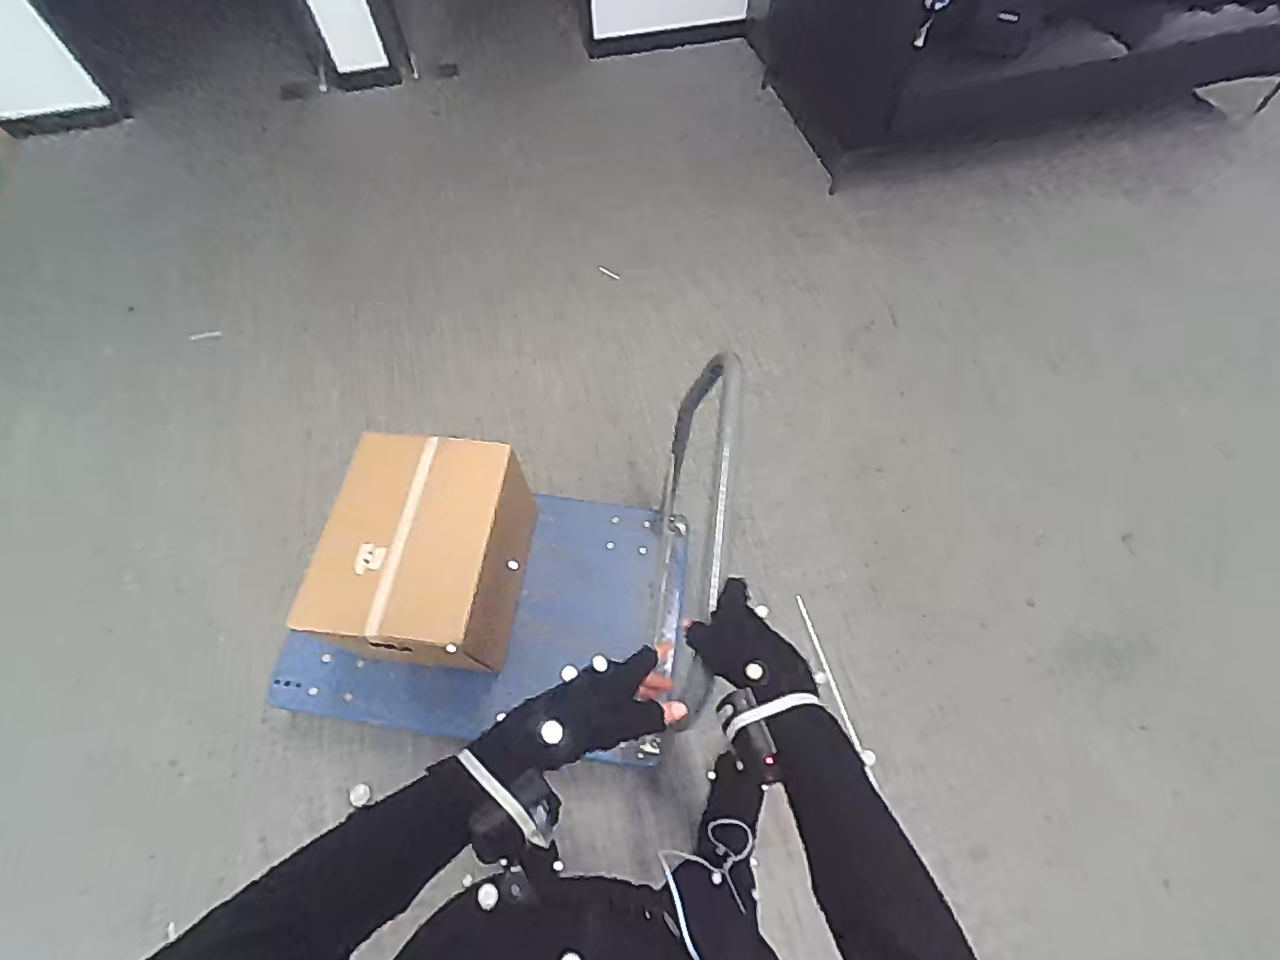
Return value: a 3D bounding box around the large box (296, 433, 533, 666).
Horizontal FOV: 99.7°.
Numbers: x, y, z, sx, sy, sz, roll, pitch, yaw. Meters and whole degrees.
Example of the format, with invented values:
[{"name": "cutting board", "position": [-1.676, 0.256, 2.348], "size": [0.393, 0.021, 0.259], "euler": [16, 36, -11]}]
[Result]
[{"name": "large box", "position": [-0.434, 0.156, 1.157], "size": [0.320, 0.320, 0.408], "euler": [5, 64, 4]}]
